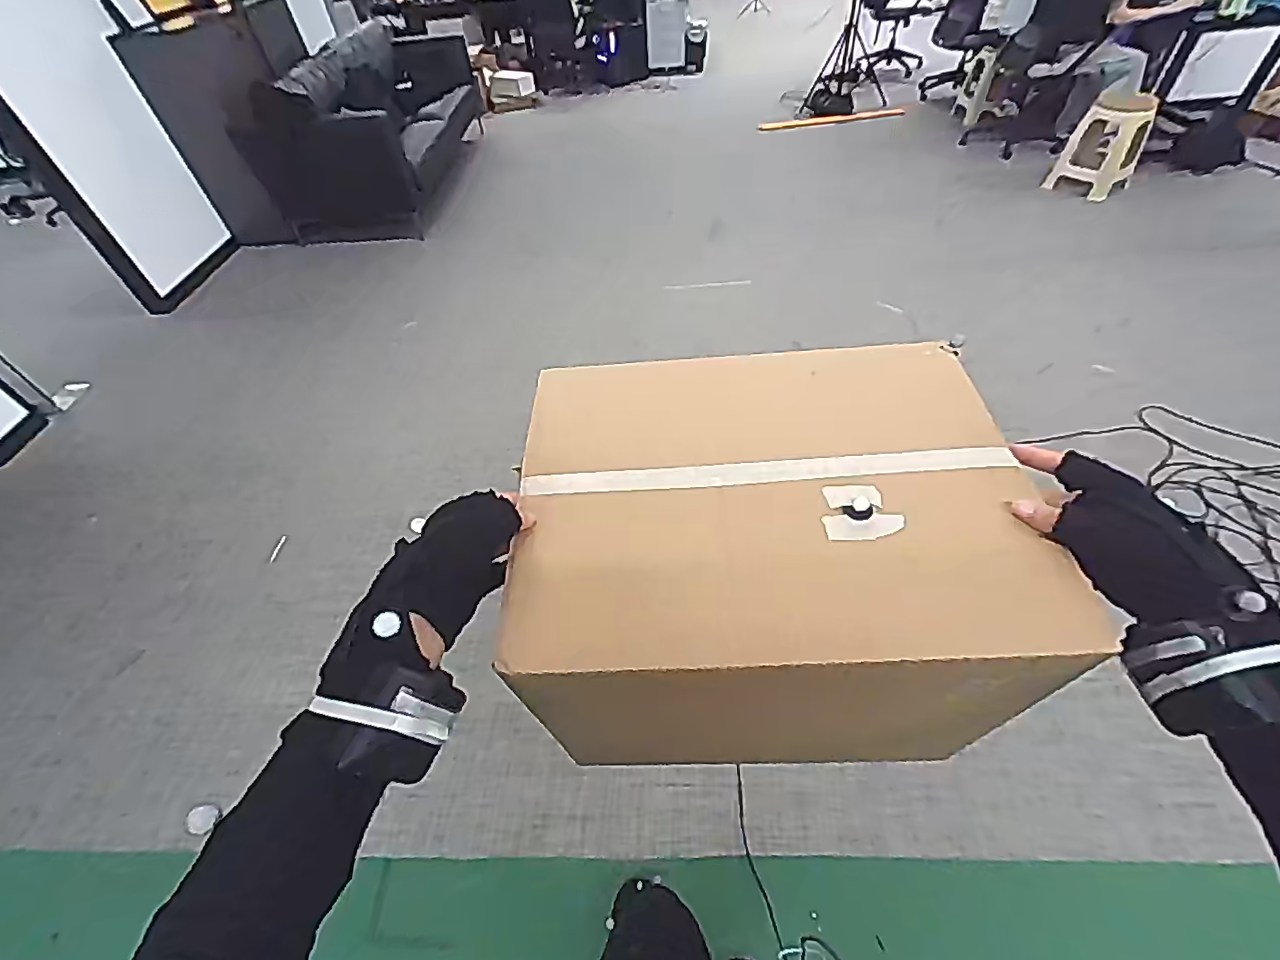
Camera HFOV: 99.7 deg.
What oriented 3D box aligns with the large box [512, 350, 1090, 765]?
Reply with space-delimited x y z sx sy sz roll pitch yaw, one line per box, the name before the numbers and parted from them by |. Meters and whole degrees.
large box | 0.114 0.096 0.577 0.408 0.320 0.320 -4 52 4
